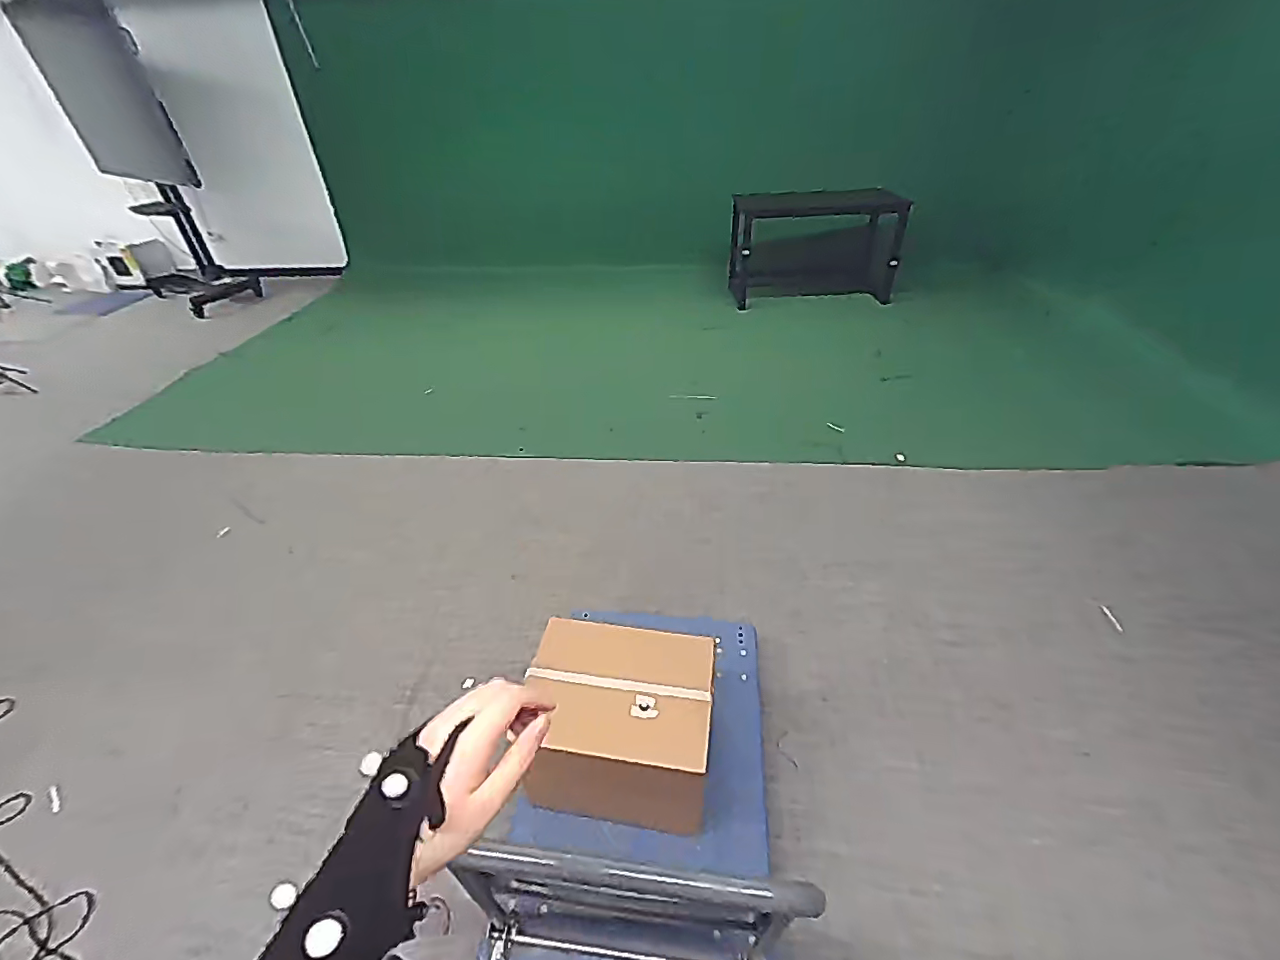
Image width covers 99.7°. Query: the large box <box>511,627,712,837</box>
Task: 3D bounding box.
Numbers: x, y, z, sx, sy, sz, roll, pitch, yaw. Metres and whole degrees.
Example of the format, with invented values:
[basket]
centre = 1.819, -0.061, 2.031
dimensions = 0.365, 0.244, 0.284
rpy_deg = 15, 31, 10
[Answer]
[large box]
centre = -0.048, 0.586, 1.277
dimensions = 0.408, 0.320, 0.320
rpy_deg = 6, 37, 8
